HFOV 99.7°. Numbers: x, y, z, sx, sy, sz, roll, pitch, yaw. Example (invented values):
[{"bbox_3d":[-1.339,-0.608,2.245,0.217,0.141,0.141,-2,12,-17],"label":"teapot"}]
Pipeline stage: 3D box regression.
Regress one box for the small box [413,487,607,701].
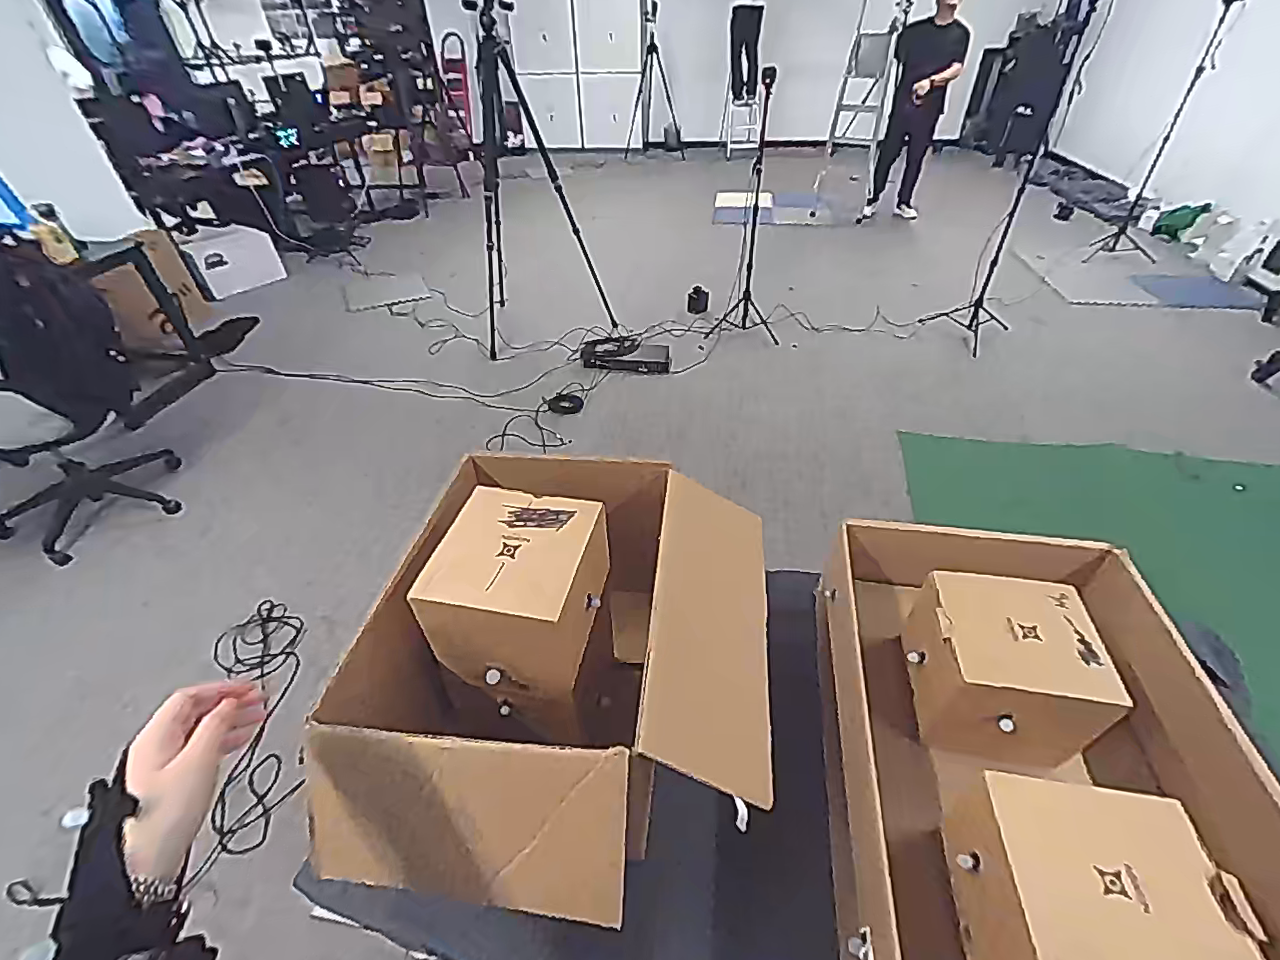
[{"bbox_3d":[-0.139,0.136,0.657,0.168,0.176,0.179,7,43,10],"label":"small box"}]
